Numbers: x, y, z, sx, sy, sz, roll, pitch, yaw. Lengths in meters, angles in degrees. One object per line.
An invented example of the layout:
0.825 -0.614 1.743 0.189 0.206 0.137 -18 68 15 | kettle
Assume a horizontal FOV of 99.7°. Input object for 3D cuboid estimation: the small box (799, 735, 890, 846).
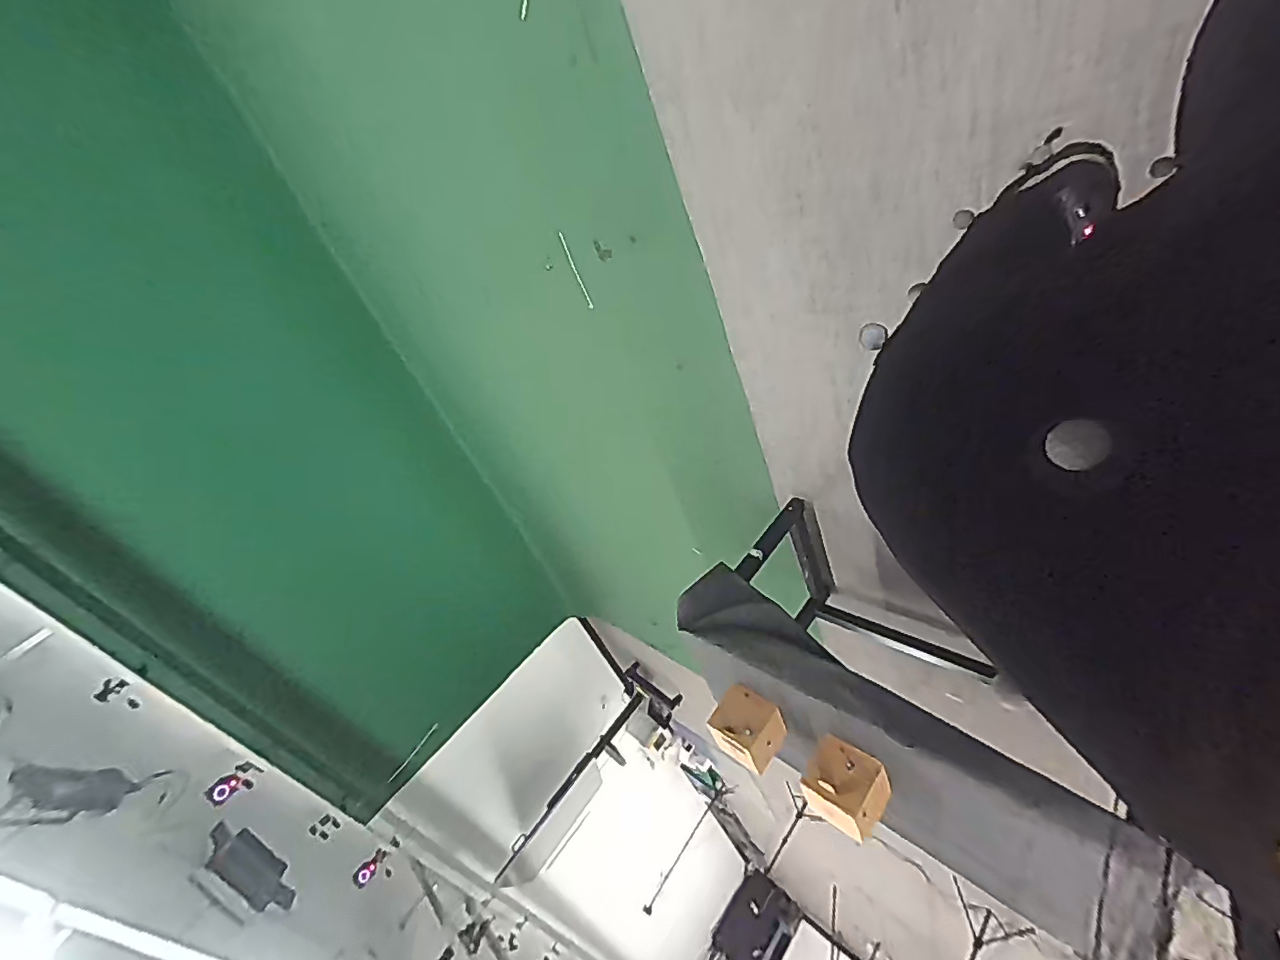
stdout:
0.571 0.852 1.498 0.168 0.176 0.179 14 139 47 | small box
